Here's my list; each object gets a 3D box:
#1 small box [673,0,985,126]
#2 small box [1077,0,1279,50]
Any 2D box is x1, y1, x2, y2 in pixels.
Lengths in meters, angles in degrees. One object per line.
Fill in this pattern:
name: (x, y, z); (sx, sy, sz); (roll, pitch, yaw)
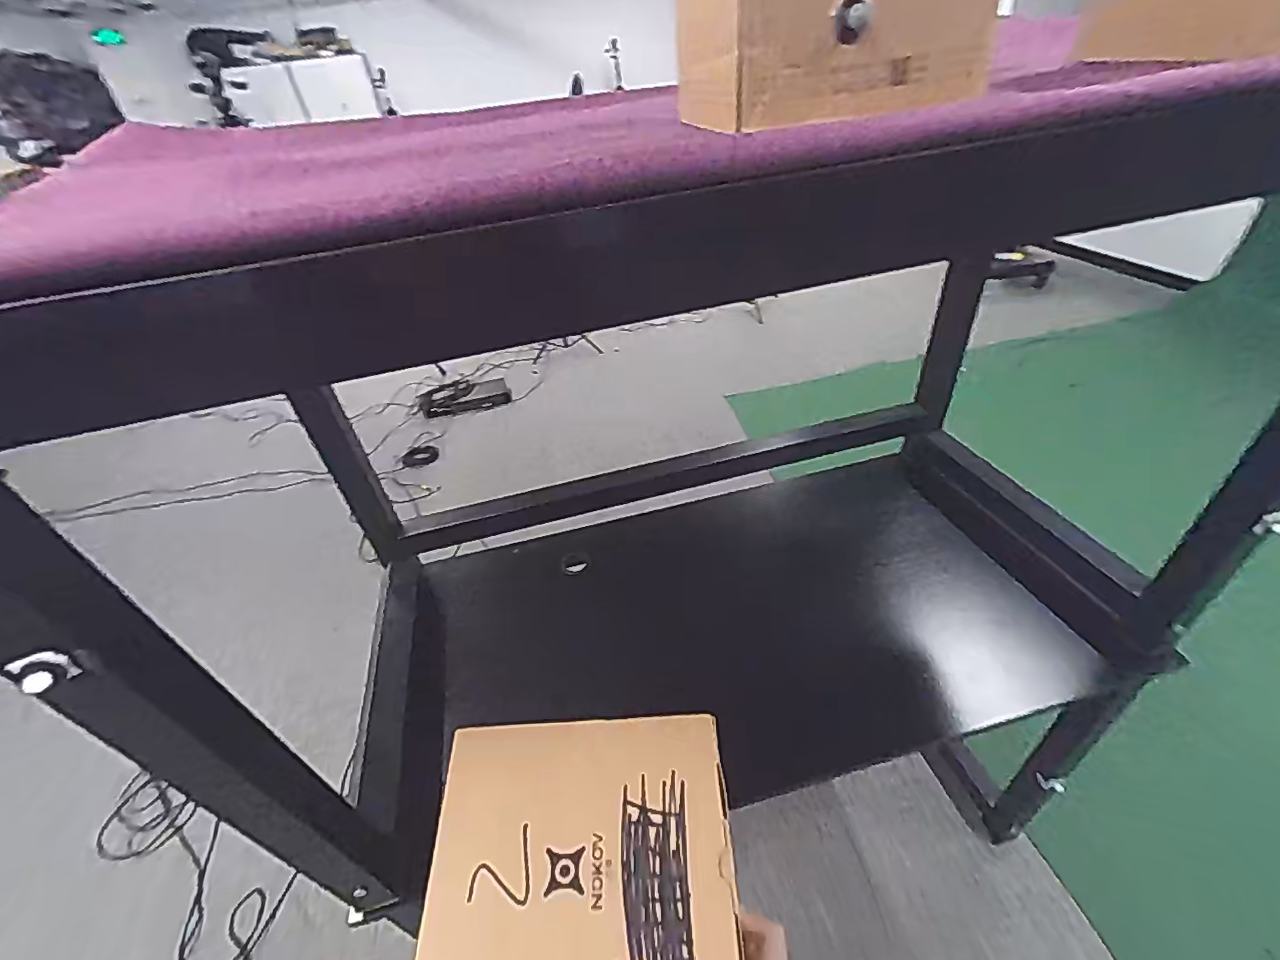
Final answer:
small box: (0.116, -0.353, 0.371); (0.168, 0.176, 0.179); (-11, 38, -4)
small box: (0.491, -0.439, 0.407); (0.168, 0.176, 0.179); (-11, 39, -2)
